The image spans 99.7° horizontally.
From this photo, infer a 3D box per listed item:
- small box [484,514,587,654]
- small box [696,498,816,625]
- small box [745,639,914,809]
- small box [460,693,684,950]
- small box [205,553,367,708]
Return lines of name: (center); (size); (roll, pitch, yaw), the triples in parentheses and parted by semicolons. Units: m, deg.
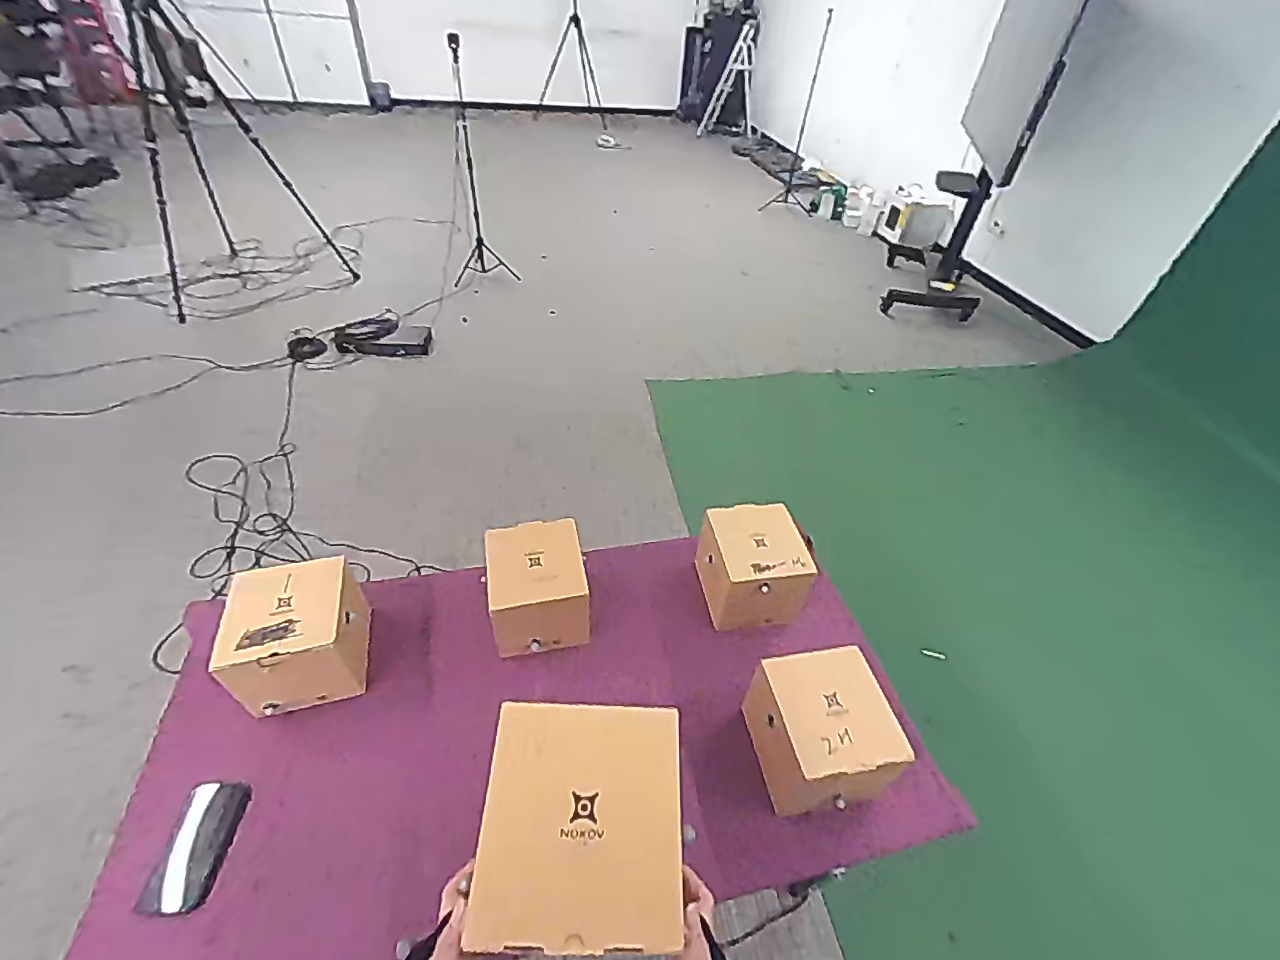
small box: (-0.191, 0.189, 0.989); (0.168, 0.176, 0.179); (-7, 46, -12)
small box: (0.213, 0.158, 1.057); (0.168, 0.176, 0.179); (-5, 44, -9)
small box: (0.273, 0.373, 0.831); (0.168, 0.176, 0.179); (-5, 45, -9)
small box: (-0.054, 0.315, 0.502); (0.168, 0.176, 0.179); (4, 53, -3)
small box: (-0.561, 0.251, 0.888); (0.168, 0.176, 0.179); (-9, 44, -15)
